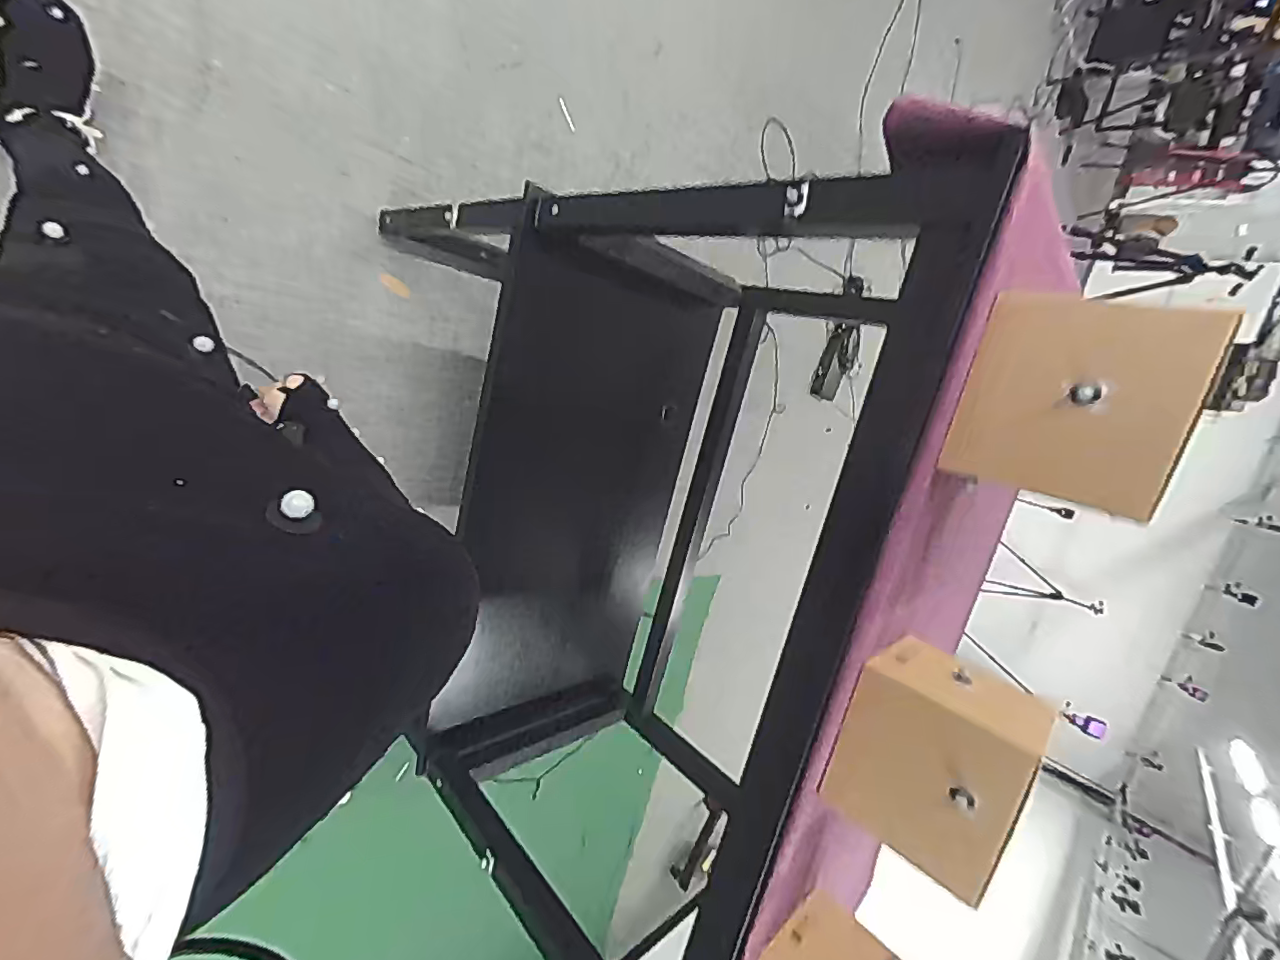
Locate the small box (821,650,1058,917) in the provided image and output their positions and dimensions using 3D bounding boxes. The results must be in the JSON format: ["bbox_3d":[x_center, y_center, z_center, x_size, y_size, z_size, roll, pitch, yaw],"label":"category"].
[{"bbox_3d":[0.326,0.308,0.601,0.168,0.176,0.179,4,105,-47],"label":"small box"}]

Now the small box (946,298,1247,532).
[{"bbox_3d":[0.422,-0.064,0.522,0.168,0.176,0.179,0,107,-46],"label":"small box"}]
